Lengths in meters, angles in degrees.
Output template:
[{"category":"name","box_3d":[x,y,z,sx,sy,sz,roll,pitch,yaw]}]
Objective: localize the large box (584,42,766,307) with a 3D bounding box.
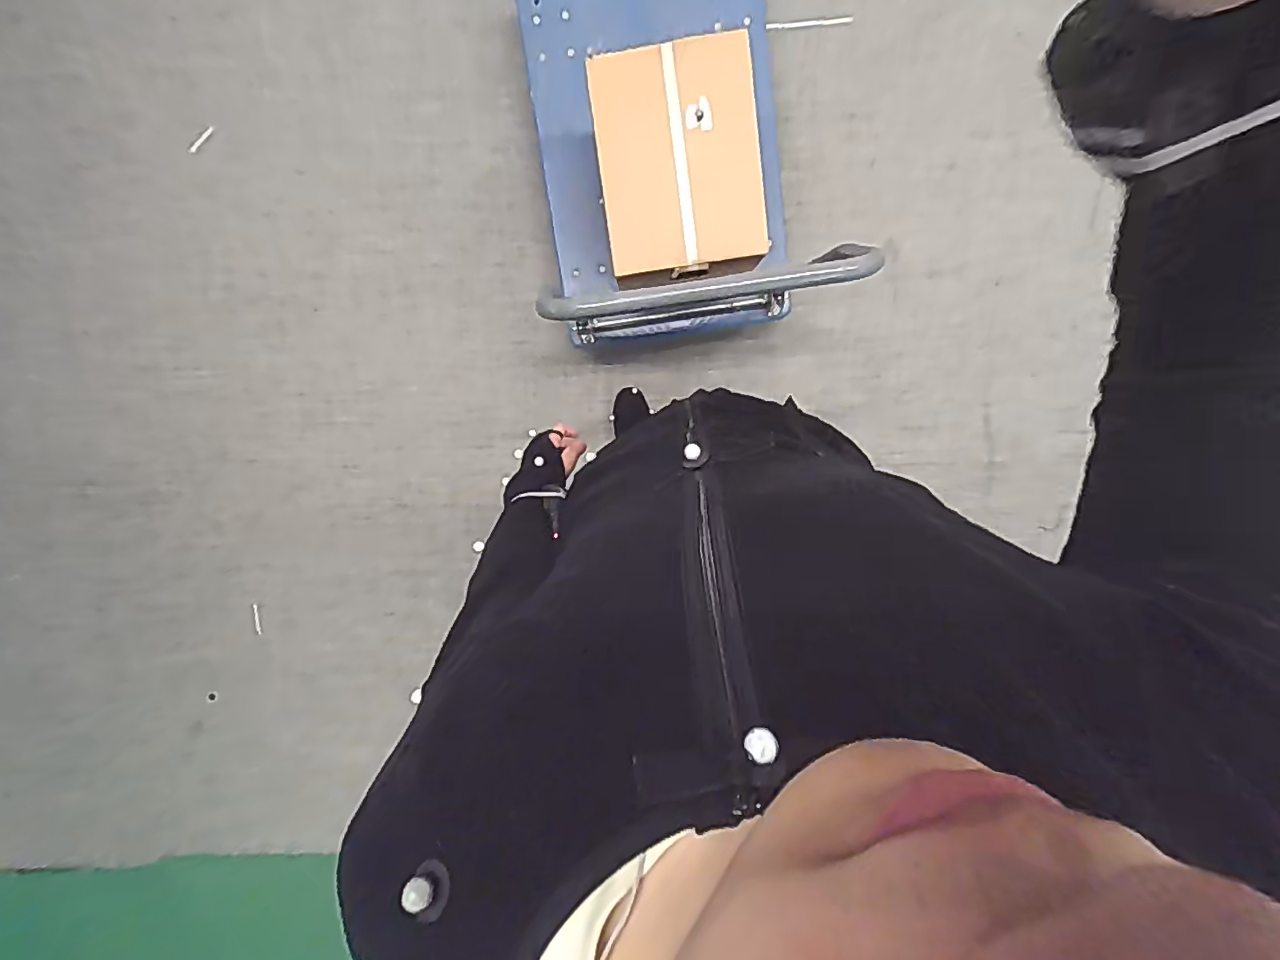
[{"category":"large box","box_3d":[0.079,-0.639,1.209,0.320,0.320,0.408,-8,98,3]}]
